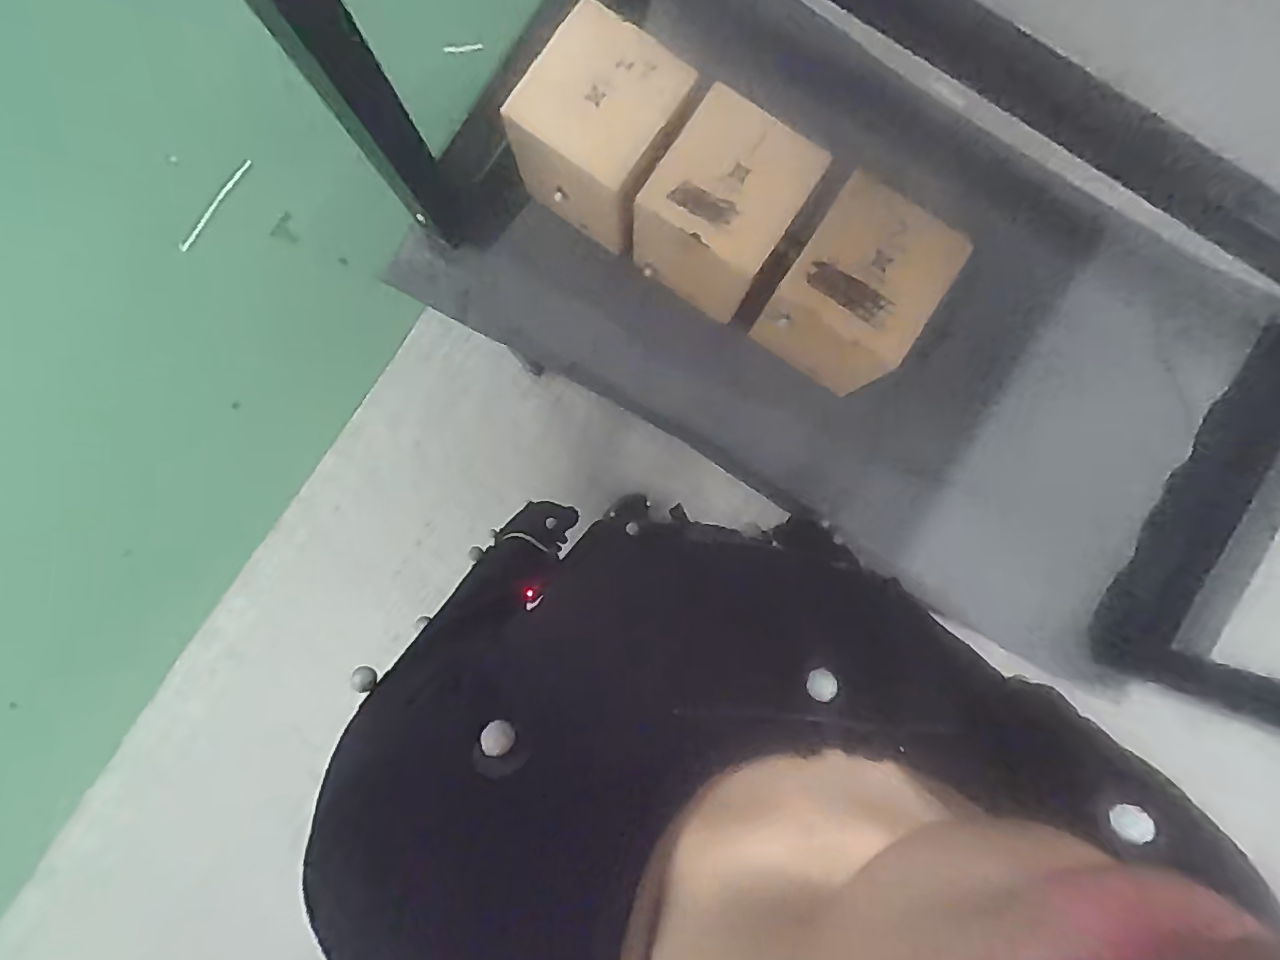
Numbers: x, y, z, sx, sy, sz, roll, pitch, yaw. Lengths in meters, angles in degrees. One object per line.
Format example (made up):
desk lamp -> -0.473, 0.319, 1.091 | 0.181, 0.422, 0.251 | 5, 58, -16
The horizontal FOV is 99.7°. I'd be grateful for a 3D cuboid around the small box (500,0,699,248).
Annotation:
small box -> -0.046, -0.438, 0.694 | 0.168, 0.176, 0.179 | 36, 87, -1
